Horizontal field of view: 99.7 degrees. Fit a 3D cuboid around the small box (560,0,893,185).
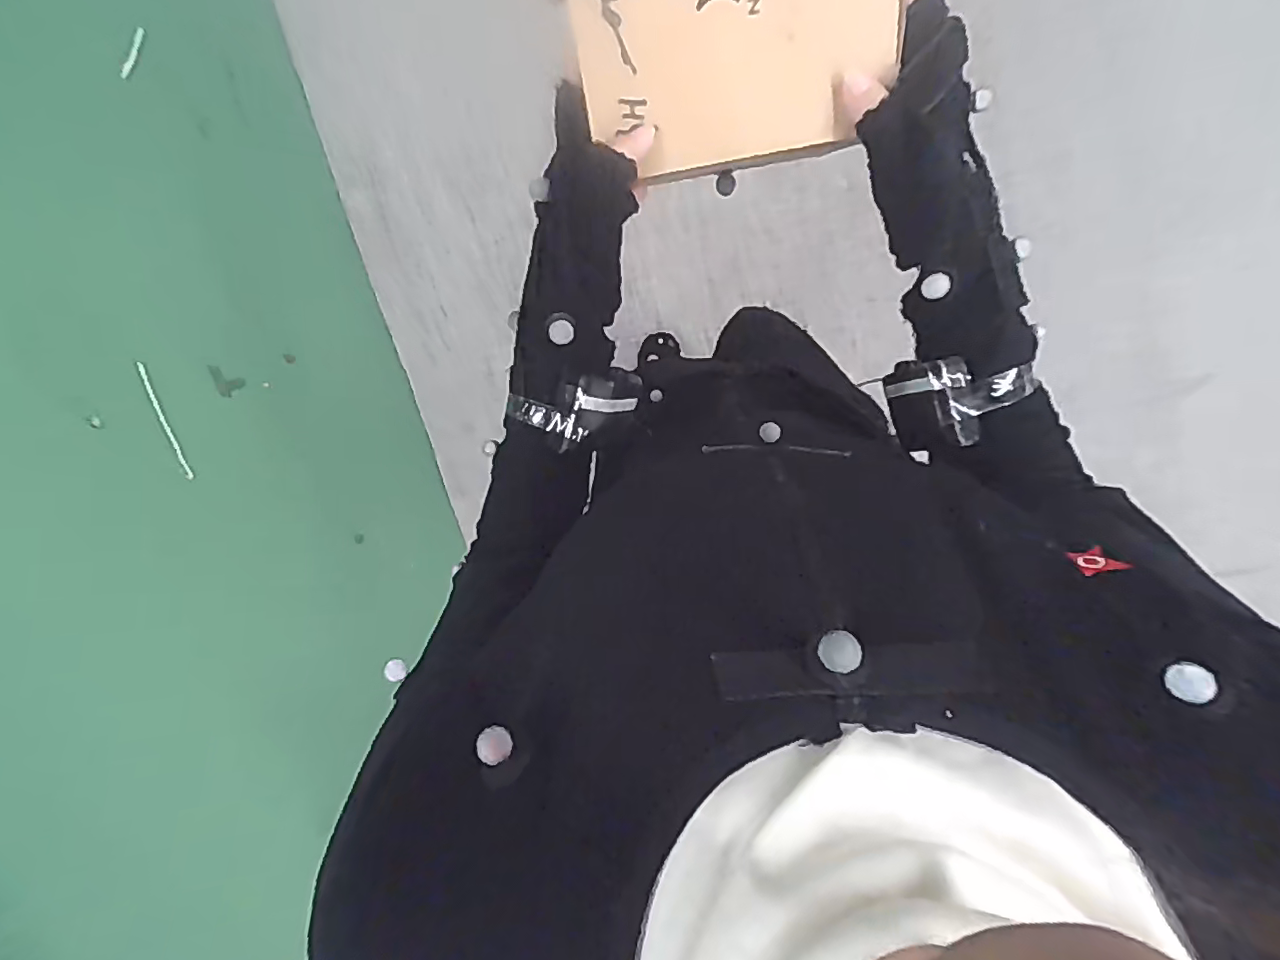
[{"bbox_3d":[0.046,-0.298,0.351,0.179,0.176,0.168,-6,116,6],"label":"small box"}]
